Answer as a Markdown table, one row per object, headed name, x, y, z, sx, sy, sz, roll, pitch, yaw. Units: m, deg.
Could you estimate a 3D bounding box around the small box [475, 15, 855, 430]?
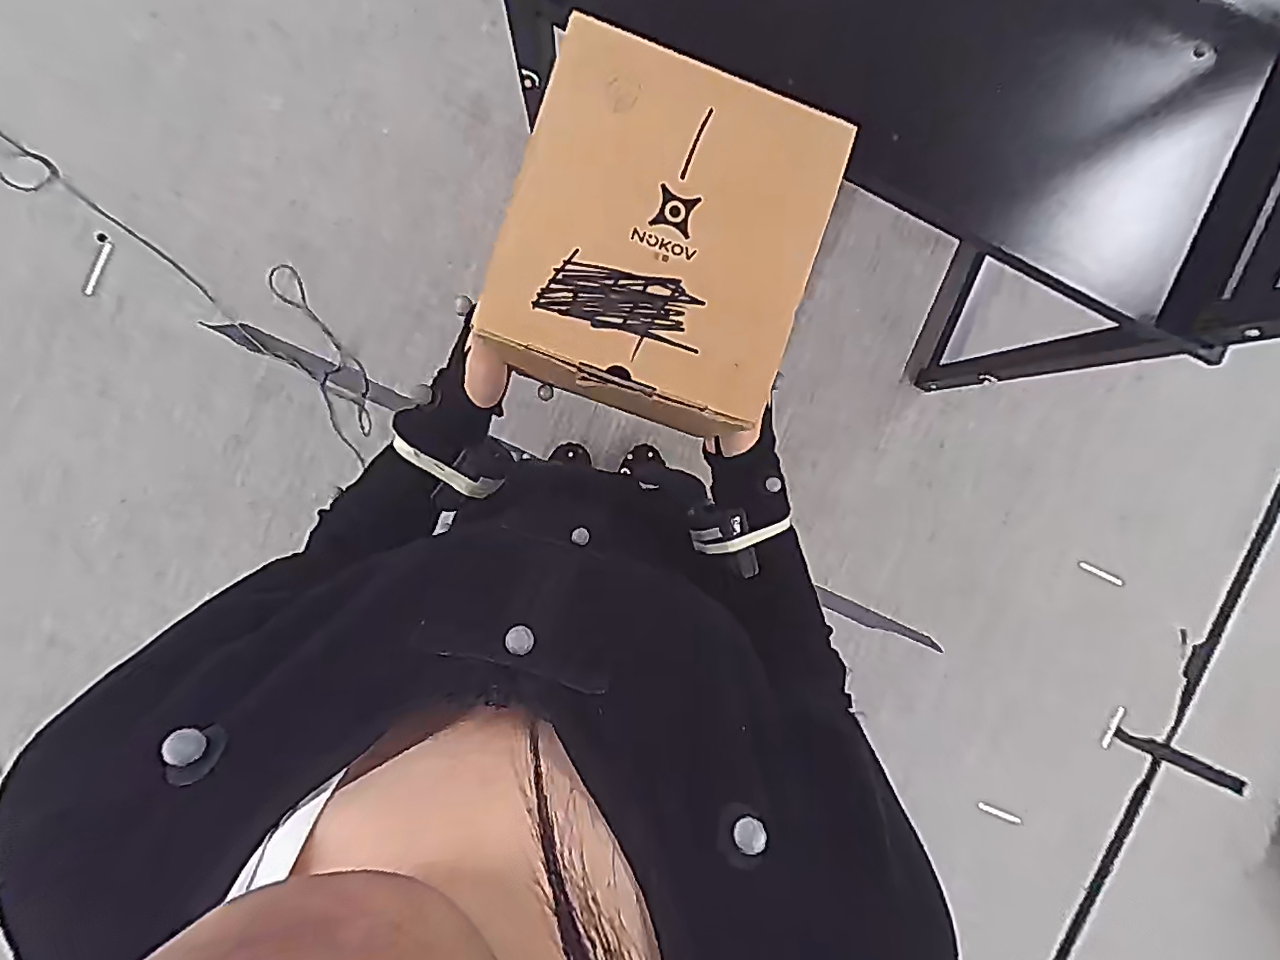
| name | x | y | z | sx | sy | sz | roll | pitch | yaw |
| --- | --- | --- | --- | --- | --- | --- | --- | --- | --- |
| small box | 0.009 | -0.139 | 0.369 | 0.168 | 0.176 | 0.179 | 18 | 91 | -5 |
